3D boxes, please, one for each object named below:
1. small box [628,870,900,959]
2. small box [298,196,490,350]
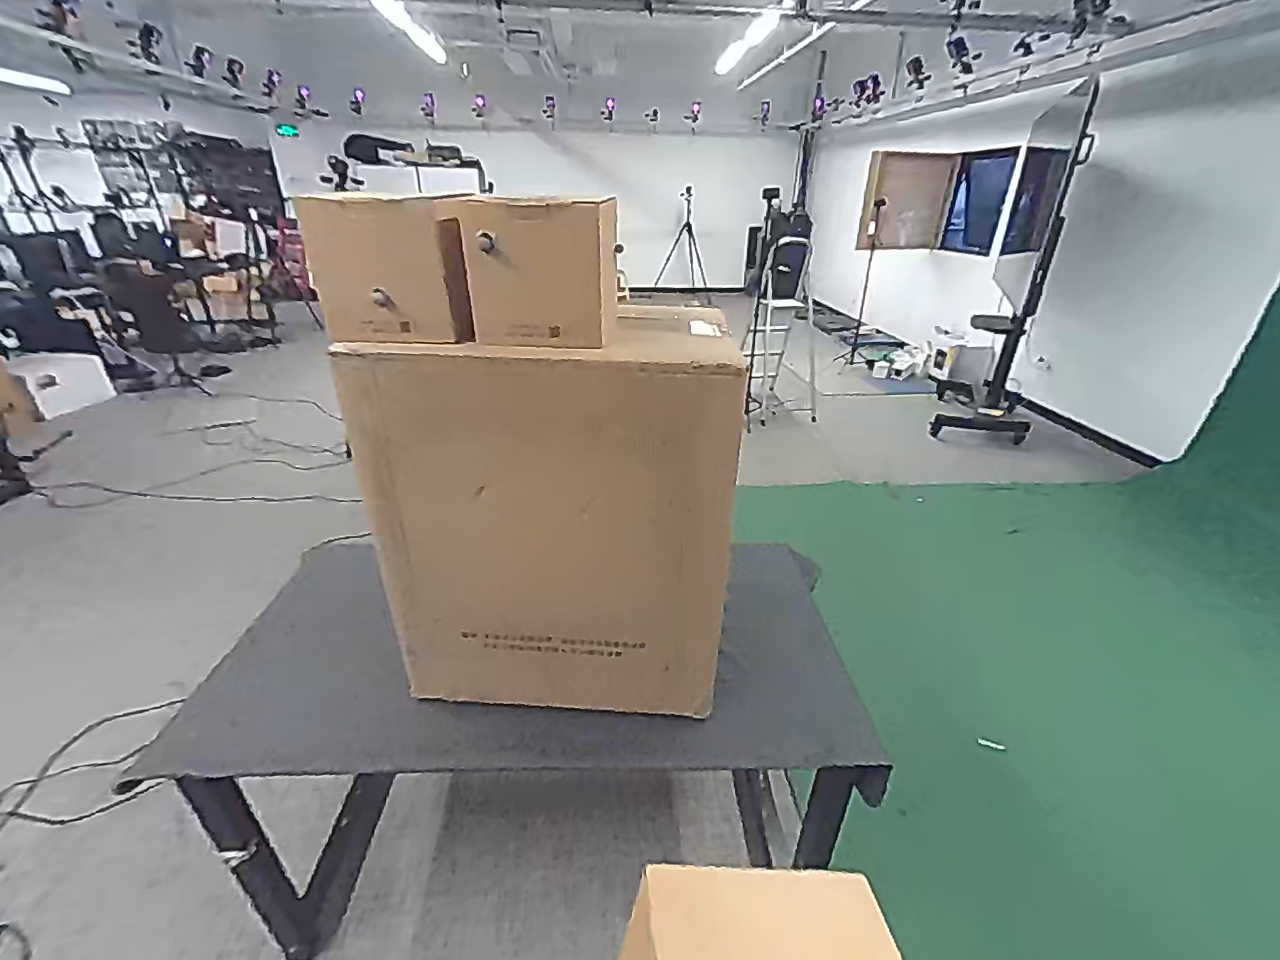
[{"bbox_3d":[0.074,0.385,0.330,0.168,0.176,0.179,9,21,-9],"label":"small box"},{"bbox_3d":[-0.306,-0.280,0.721,0.168,0.176,0.179,1,29,2],"label":"small box"}]
